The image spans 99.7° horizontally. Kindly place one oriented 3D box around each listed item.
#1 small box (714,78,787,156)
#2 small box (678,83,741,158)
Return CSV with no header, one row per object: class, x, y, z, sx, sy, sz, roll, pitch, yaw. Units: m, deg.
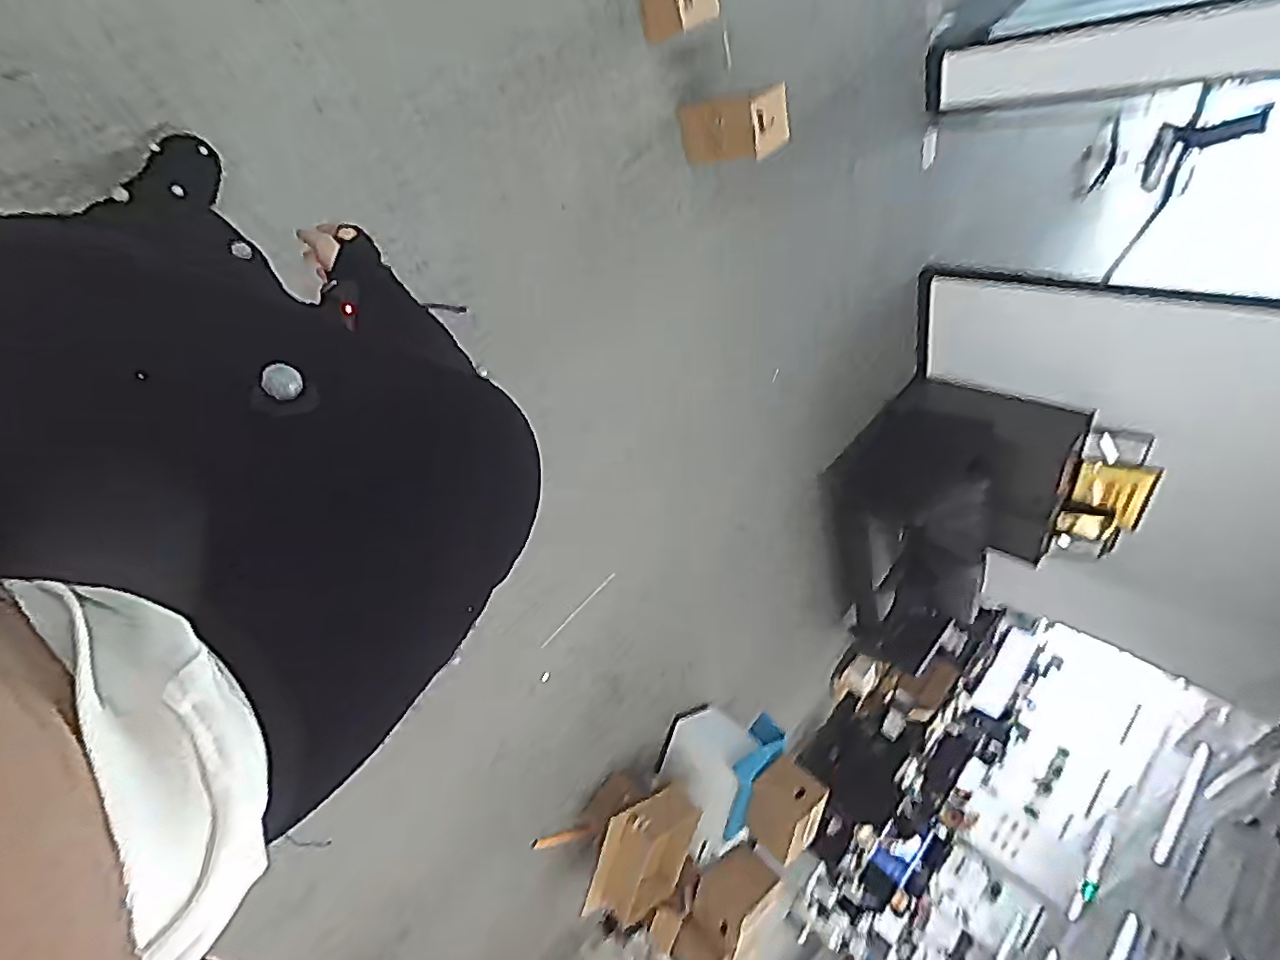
small box,0.362,-1.201,1.800,0.179,0.176,0.168,-42,134,-21
small box,0.256,-1.263,1.910,0.168,0.176,0.179,-43,135,-20
